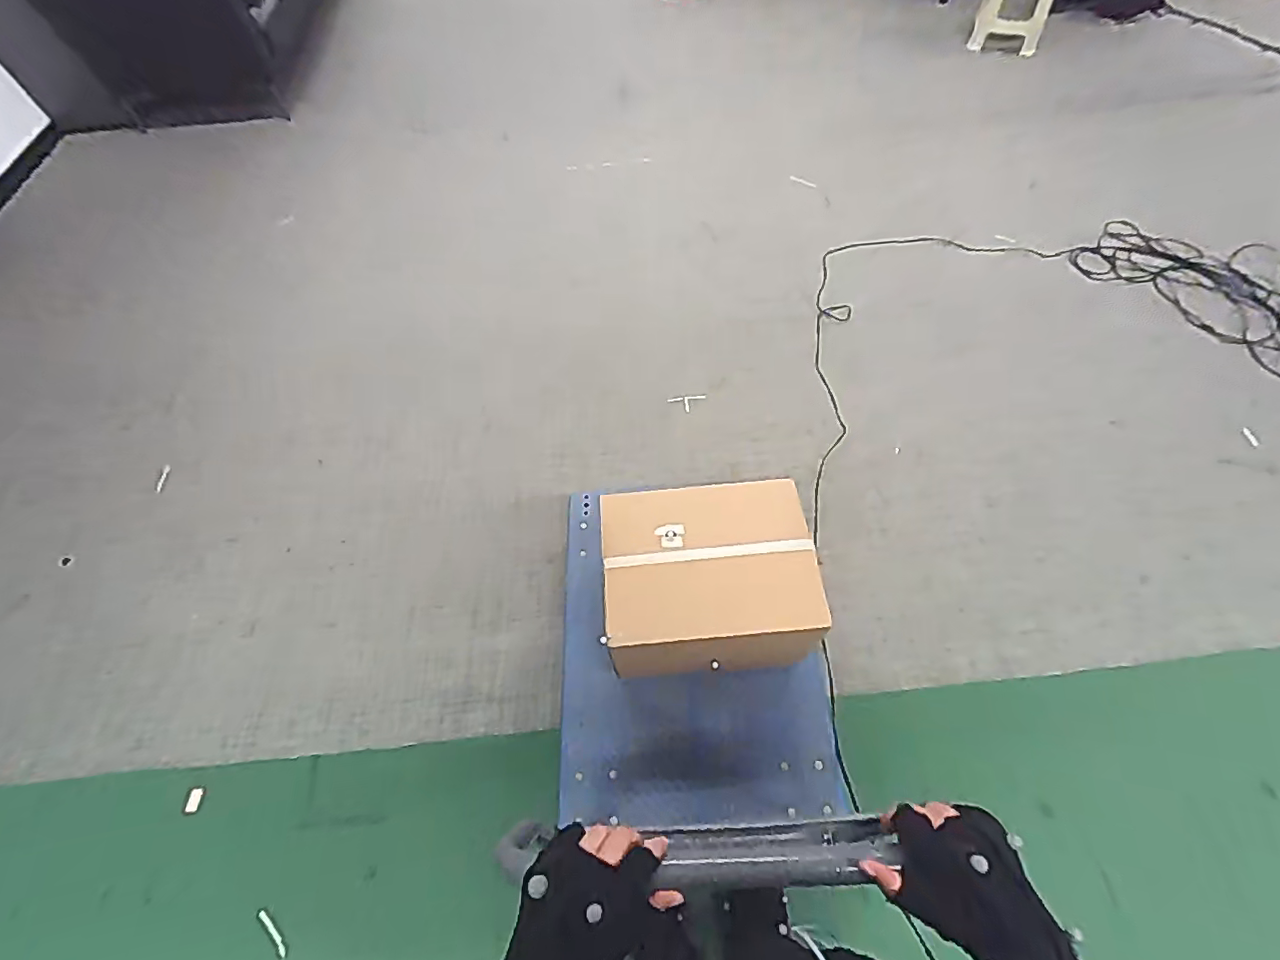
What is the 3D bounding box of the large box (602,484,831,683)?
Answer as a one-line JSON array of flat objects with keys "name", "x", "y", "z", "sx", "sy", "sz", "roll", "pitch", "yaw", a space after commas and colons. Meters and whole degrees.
[{"name": "large box", "x": 0.142, "y": 0.234, "z": 1.168, "sx": 0.408, "sy": 0.320, "sz": 0.320, "roll": -6, "pitch": 57, "yaw": 0}]
